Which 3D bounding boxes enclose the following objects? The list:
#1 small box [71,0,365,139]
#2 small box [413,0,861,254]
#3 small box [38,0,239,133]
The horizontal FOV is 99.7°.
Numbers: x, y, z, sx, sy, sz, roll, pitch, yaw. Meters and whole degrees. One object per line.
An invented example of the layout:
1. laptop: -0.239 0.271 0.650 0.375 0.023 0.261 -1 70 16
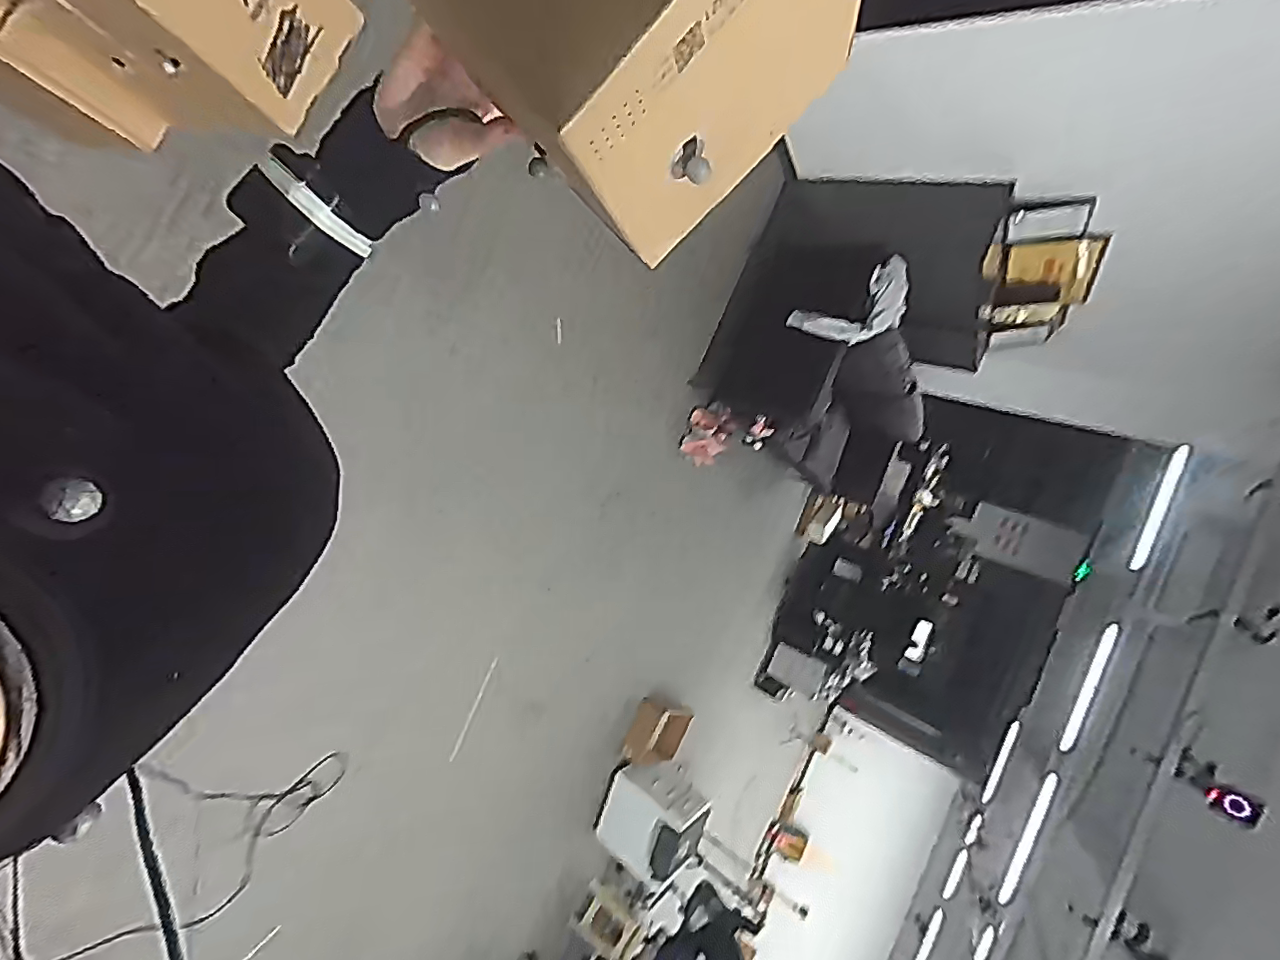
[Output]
1. small box: -0.447 -0.504 0.578 0.168 0.176 0.179 -63 147 -6
2. small box: -0.010 -0.254 0.264 0.168 0.179 0.176 -44 174 13
3. small box: -0.576 -0.559 0.663 0.168 0.176 0.179 -62 146 -4
